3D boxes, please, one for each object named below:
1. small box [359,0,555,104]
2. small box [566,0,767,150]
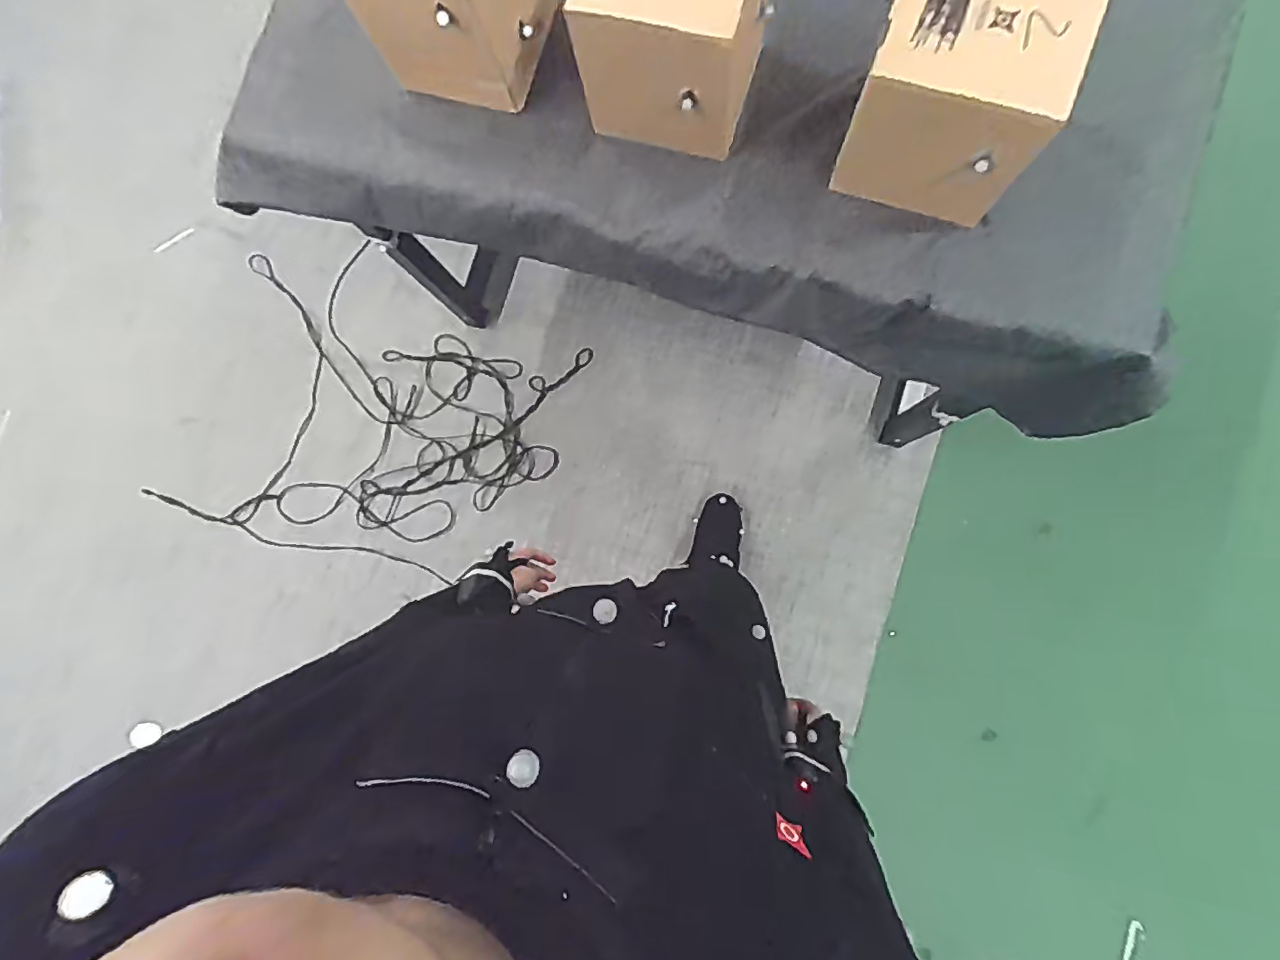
[{"bbox_3d":[-0.223,-0.596,0.647,0.179,0.176,0.168,16,86,7],"label":"small box"},{"bbox_3d":[0.042,-0.510,0.607,0.179,0.176,0.168,17,85,9],"label":"small box"}]
